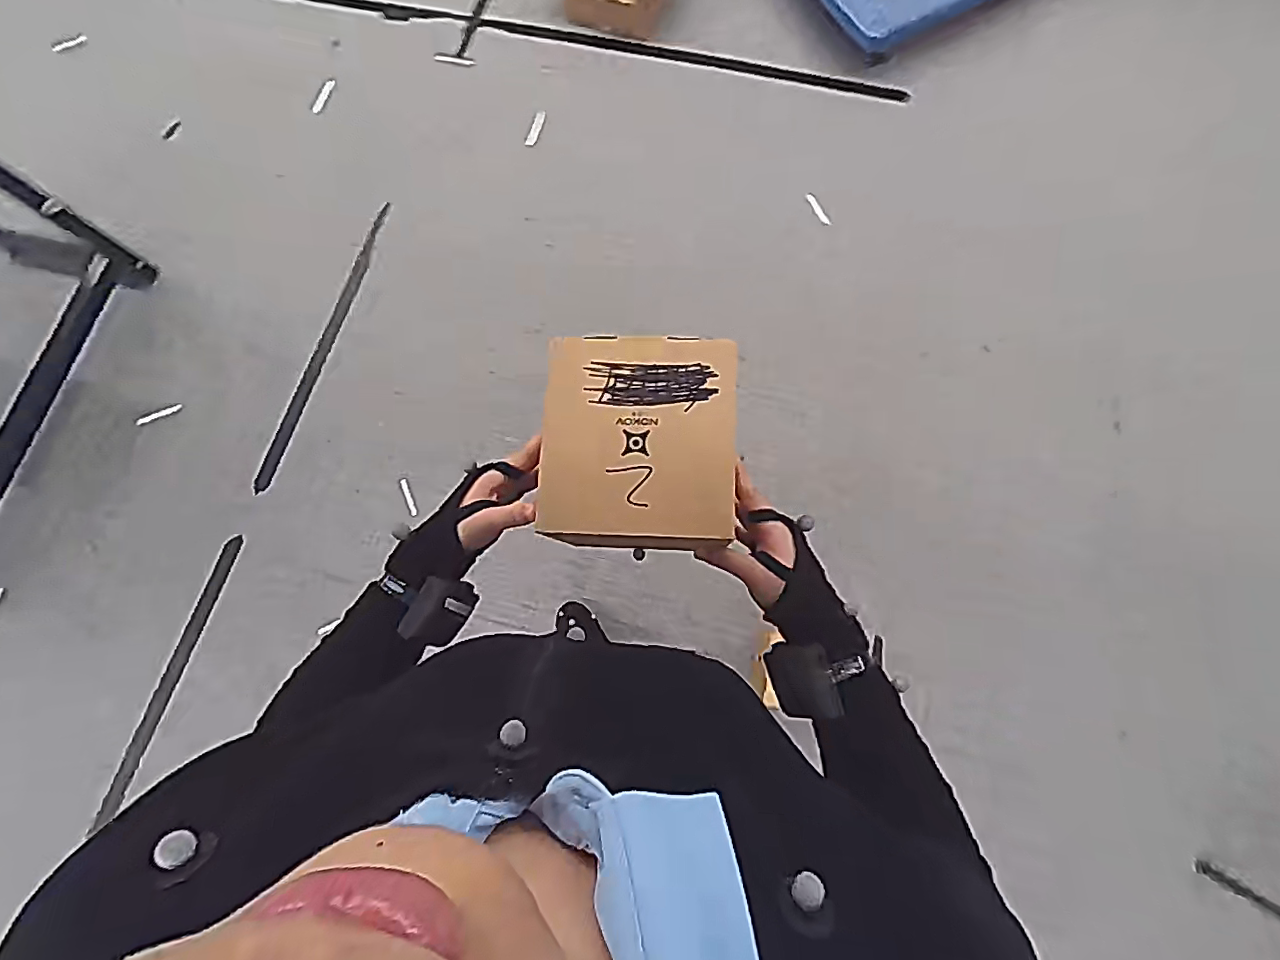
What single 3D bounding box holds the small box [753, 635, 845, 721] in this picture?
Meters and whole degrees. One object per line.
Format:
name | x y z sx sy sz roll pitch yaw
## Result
small box | 0.392 0.486 1.355 0.179 0.176 0.168 9 76 5
